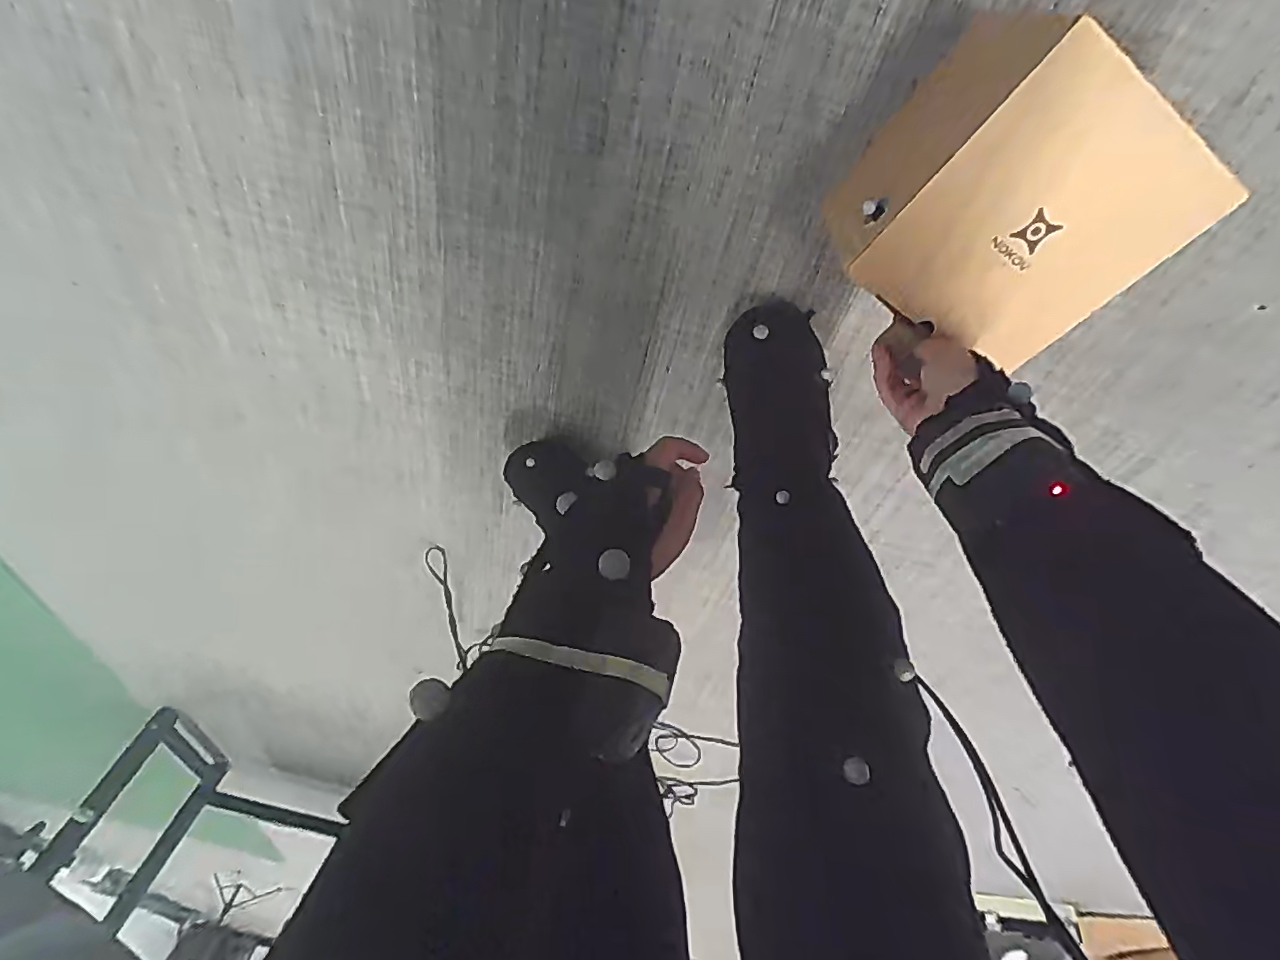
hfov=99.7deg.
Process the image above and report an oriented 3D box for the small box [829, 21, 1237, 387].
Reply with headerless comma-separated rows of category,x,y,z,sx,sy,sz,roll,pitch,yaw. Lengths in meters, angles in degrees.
small box,0.272,-0.216,0.426,0.168,0.176,0.179,29,131,-15
